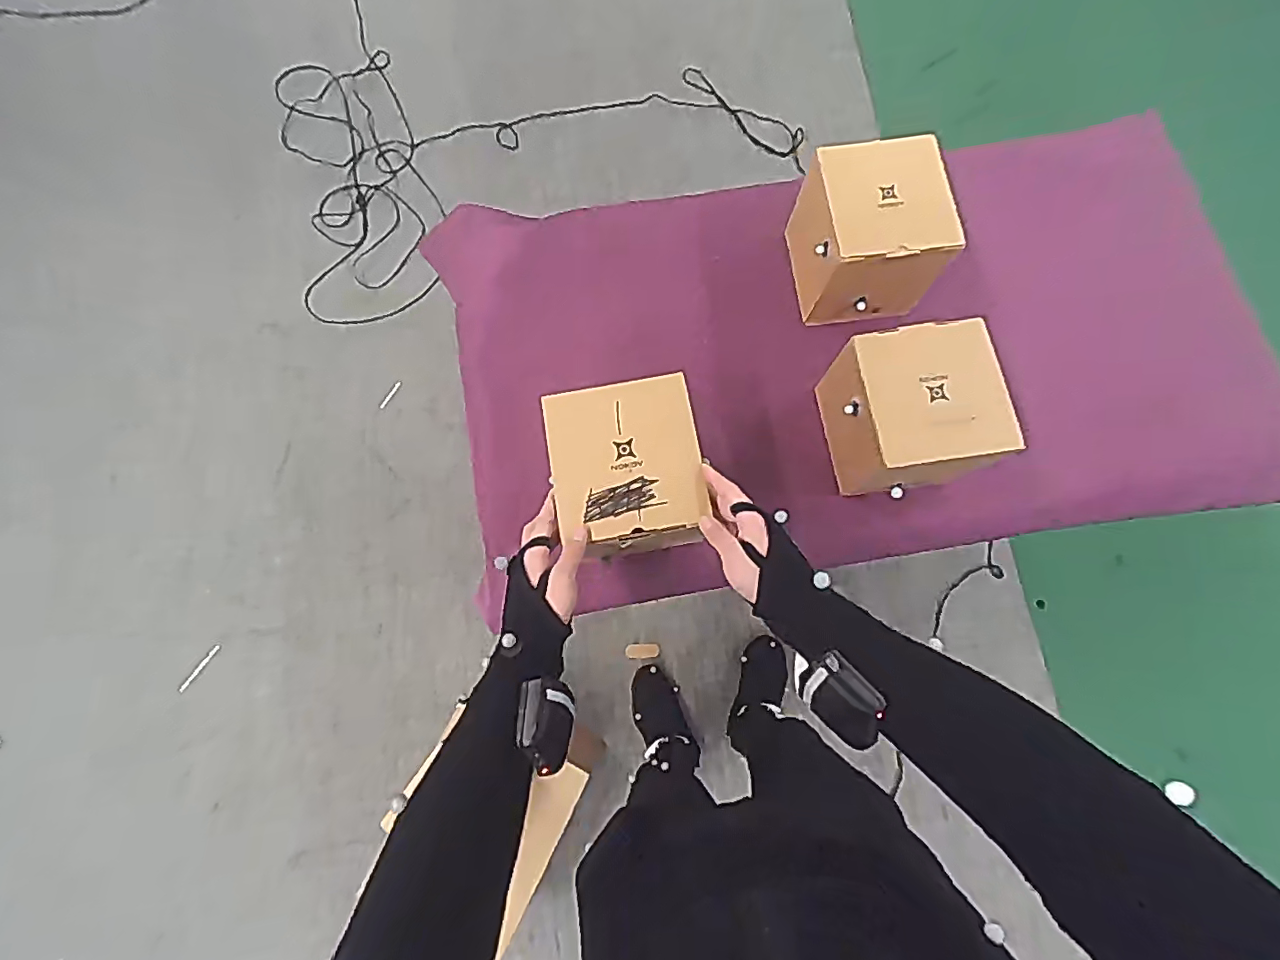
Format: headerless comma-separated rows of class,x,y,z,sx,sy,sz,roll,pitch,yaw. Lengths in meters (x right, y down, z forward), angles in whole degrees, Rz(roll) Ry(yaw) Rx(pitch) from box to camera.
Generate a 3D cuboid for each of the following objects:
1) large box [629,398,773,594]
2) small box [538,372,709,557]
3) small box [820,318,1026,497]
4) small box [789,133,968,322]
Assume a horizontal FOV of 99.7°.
large box,0.114,0.057,1.365,0.320,0.320,0.408,-9,76,-1
small box,-0.016,-0.006,0.657,0.168,0.176,0.179,-10,76,0
small box,0.352,-0.086,0.713,0.168,0.176,0.179,-8,77,1
small box,0.325,-0.352,0.777,0.168,0.176,0.179,-7,78,-1
